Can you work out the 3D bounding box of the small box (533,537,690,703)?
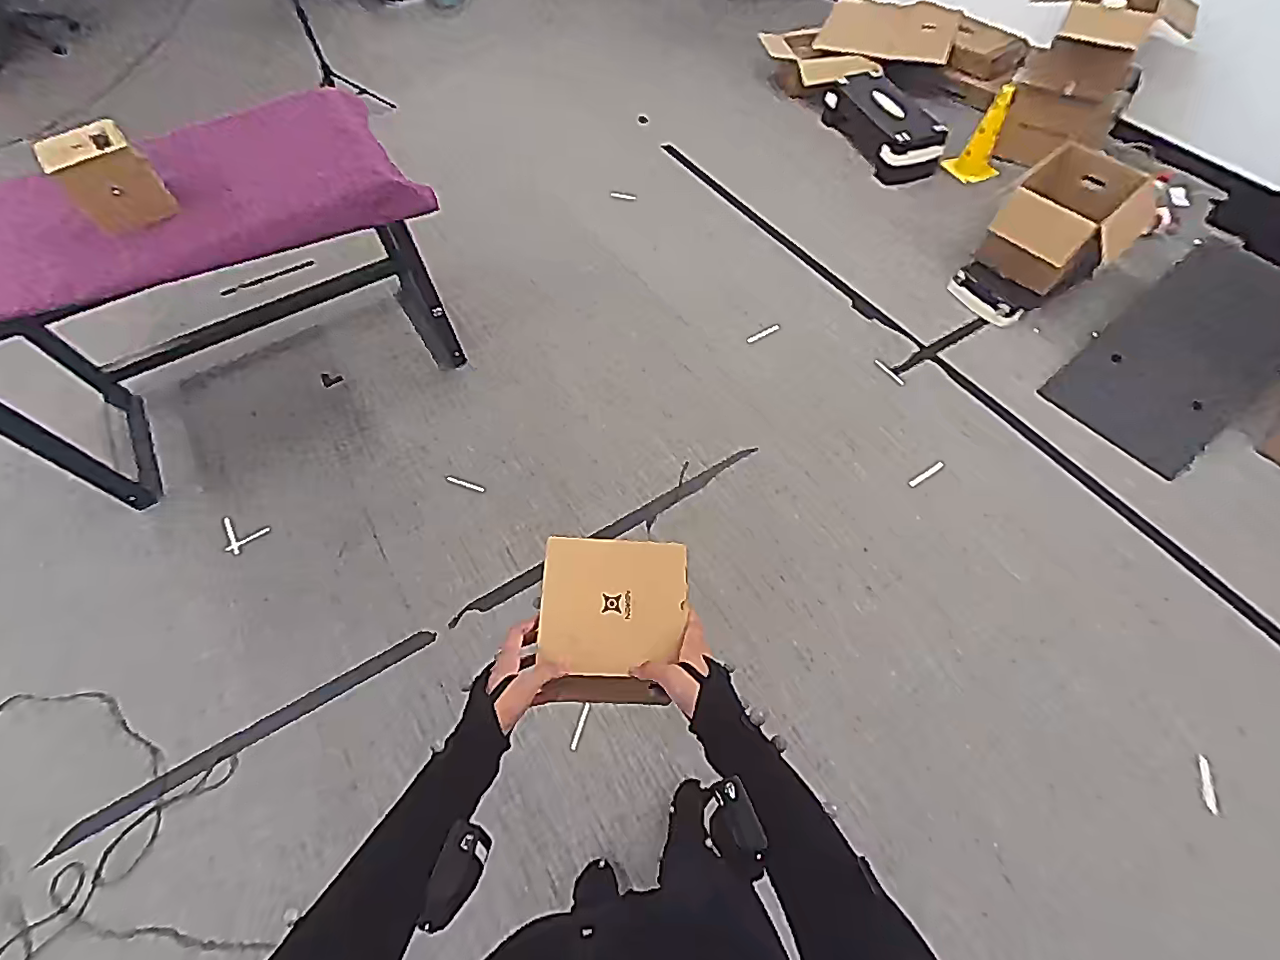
[{"bbox_3d":[-0.039,0.187,0.699,0.179,0.176,0.168,4,58,-6],"label":"small box"}]
